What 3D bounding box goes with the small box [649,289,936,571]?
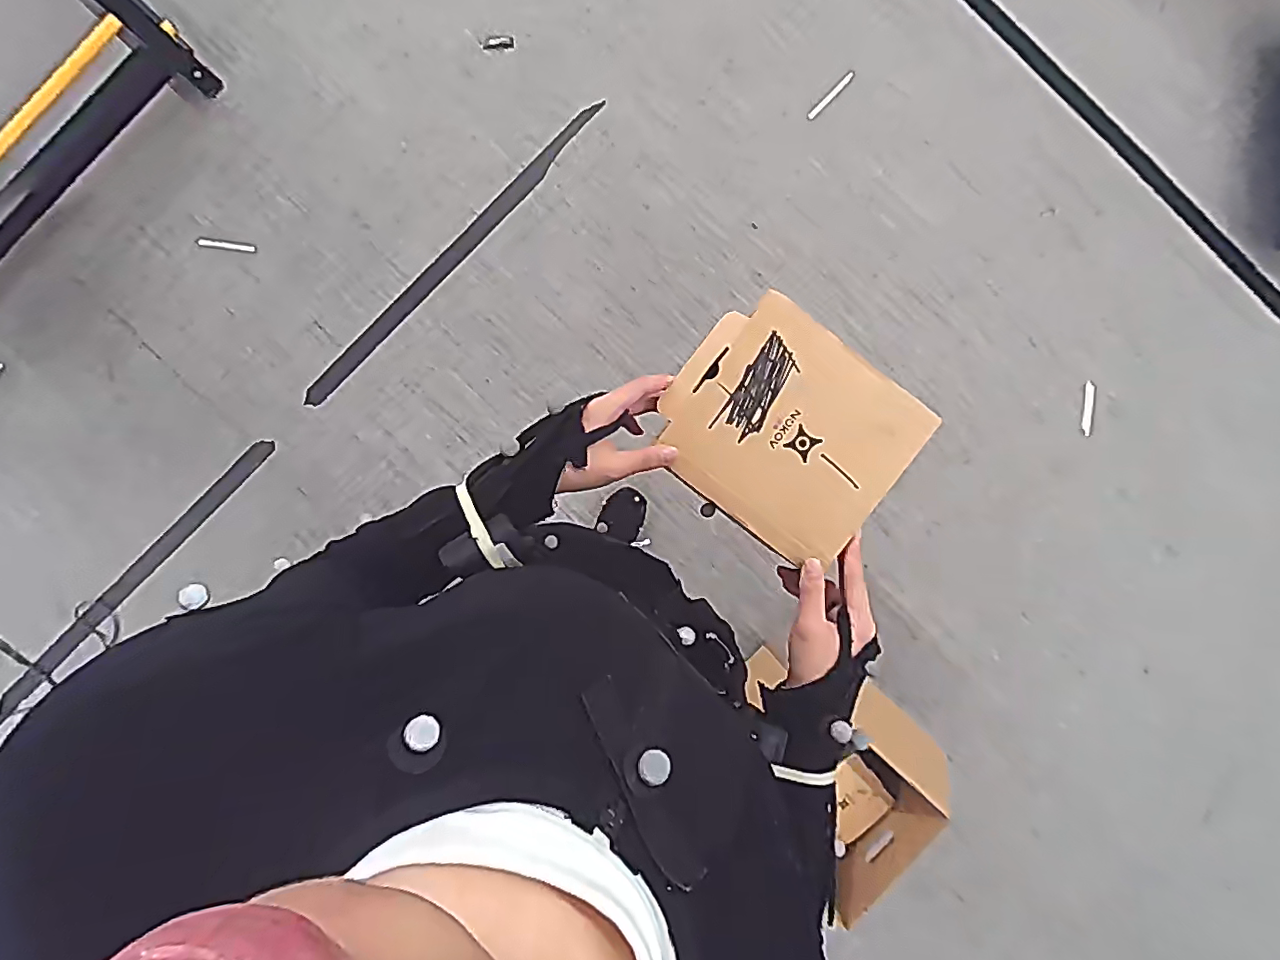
[{"bbox_3d":[0.122,-0.042,0.515,0.179,0.176,0.168,37,92,-2],"label":"small box"}]
